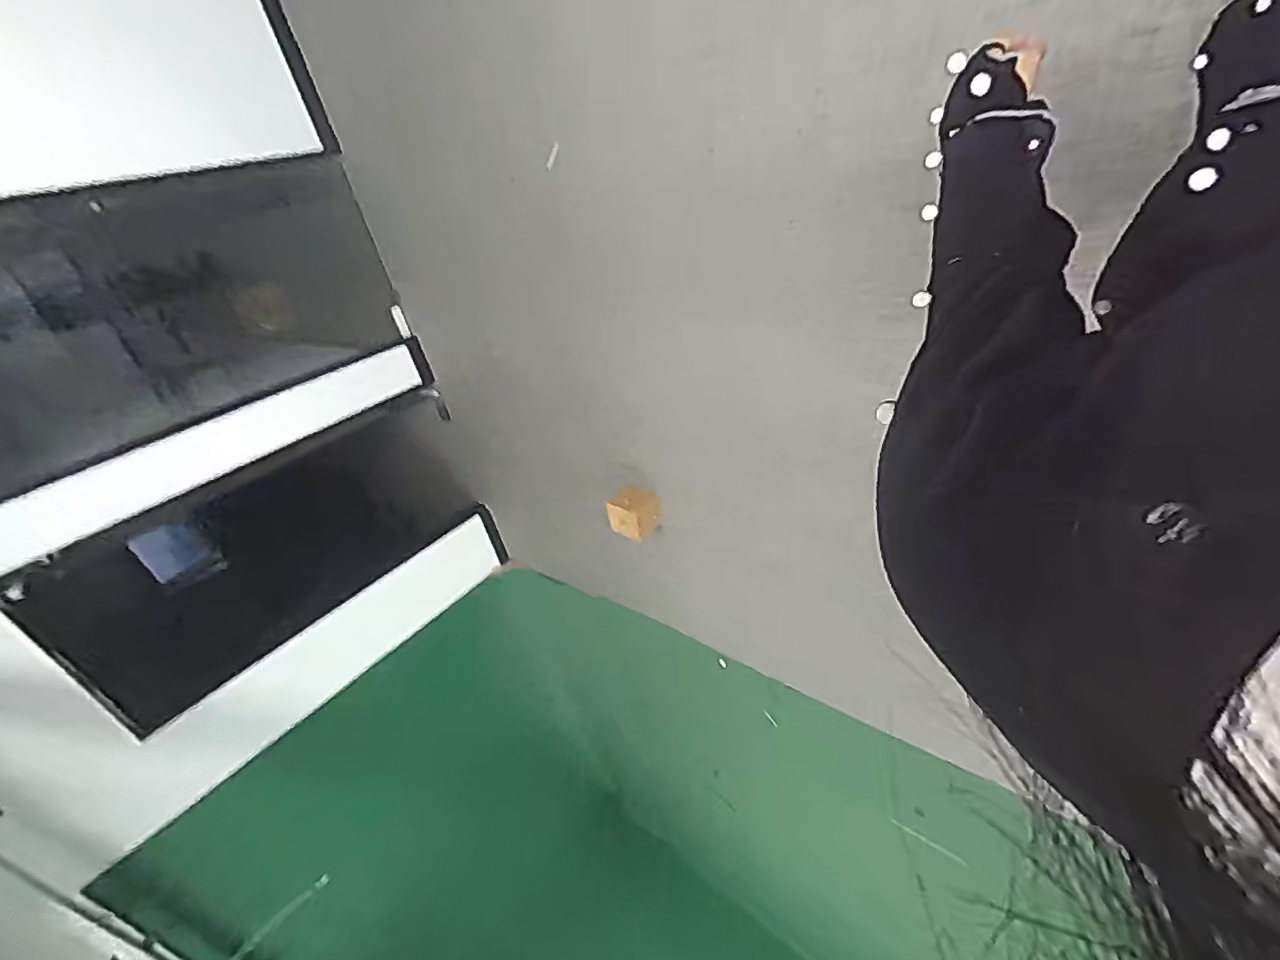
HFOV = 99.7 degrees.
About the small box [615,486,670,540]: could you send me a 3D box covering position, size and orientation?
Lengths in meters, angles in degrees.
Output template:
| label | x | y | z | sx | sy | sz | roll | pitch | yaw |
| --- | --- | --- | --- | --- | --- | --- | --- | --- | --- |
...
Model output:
| label | x | y | z | sx | sy | sz | roll | pitch | yaw |
| --- | --- | --- | --- | --- | --- | --- | --- | --- | --- |
| small box | 0.012 | 0.145 | 2.487 | 0.179 | 0.176 | 0.168 | 17 | 133 | 36 |
